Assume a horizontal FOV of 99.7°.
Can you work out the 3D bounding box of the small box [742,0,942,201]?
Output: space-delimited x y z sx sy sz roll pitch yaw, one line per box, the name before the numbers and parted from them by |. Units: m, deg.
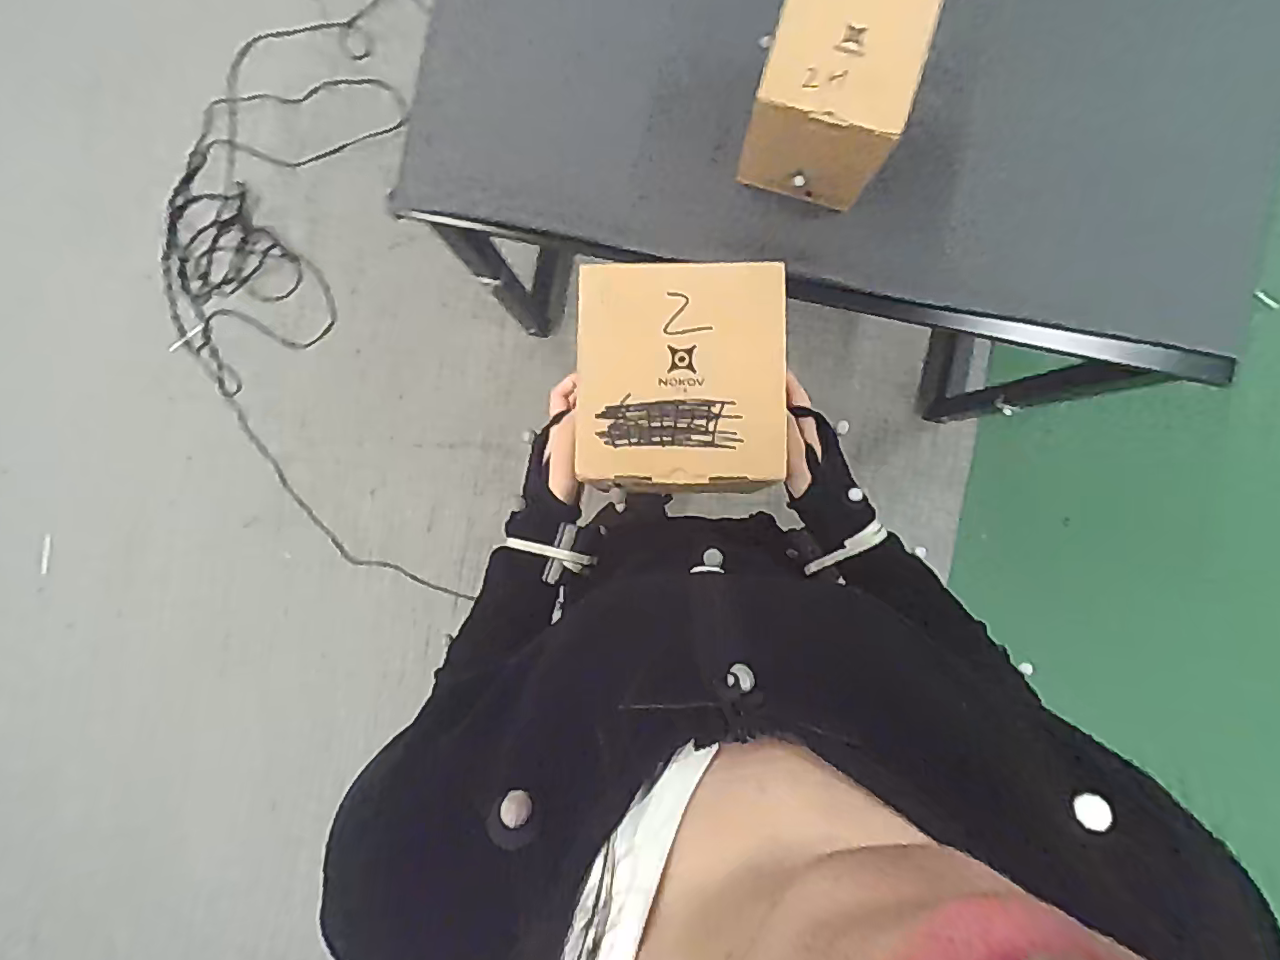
small box | 0.235 -0.488 0.669 0.168 0.176 0.179 16 91 2
